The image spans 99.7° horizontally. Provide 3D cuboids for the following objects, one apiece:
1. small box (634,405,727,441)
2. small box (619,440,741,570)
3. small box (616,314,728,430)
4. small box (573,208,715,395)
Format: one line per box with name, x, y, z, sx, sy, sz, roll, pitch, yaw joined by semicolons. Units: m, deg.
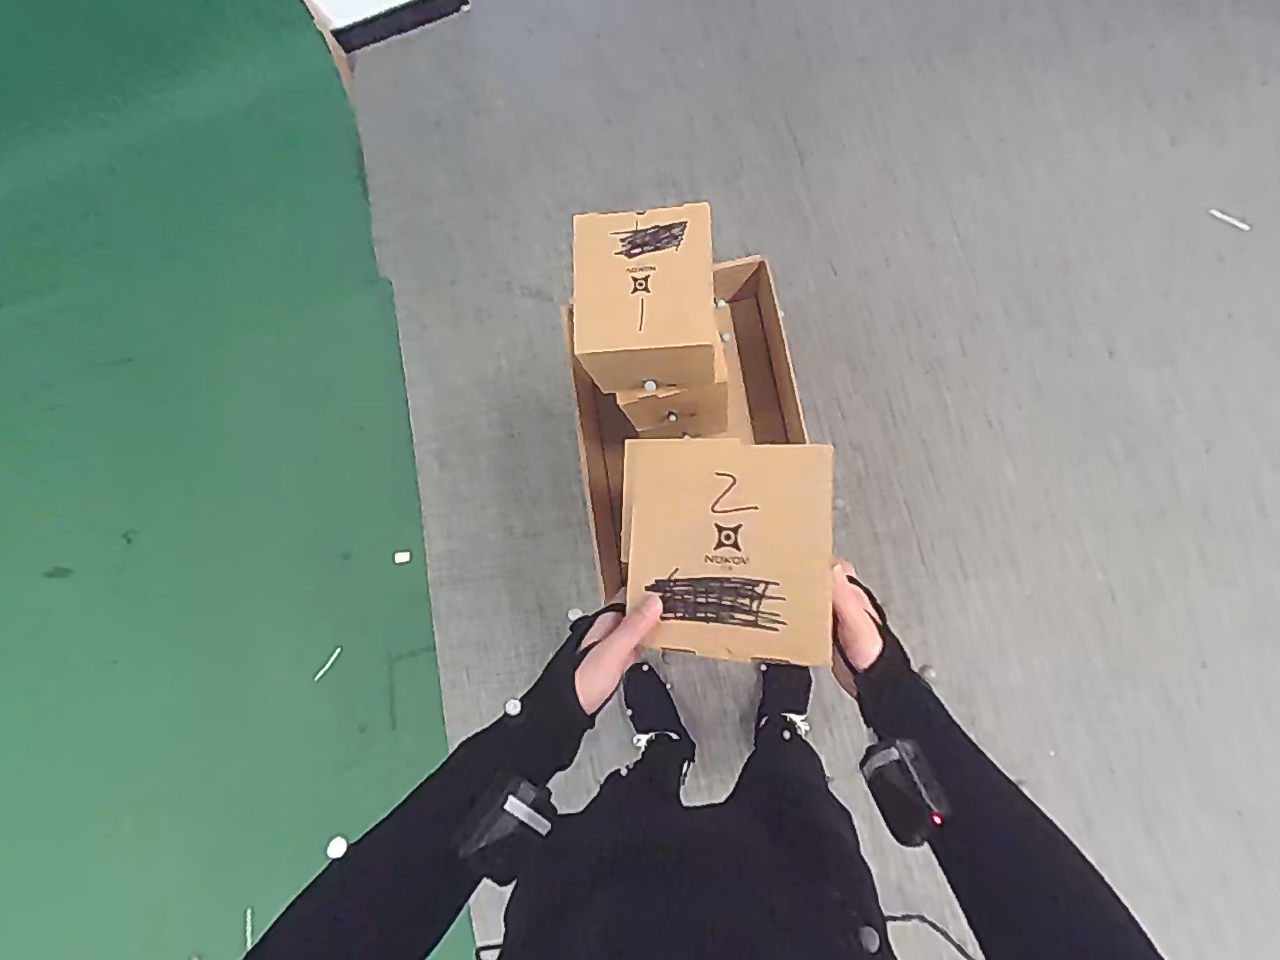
small box;0.069;-0.172;1.032;0.168;0.176;0.179;-11;80;8
small box;0.069;0.044;0.822;0.168;0.176;0.179;0;78;9
small box;0.043;-0.195;0.874;0.168;0.176;0.179;-11;81;7
small box;0.013;-0.223;0.714;0.168;0.176;0.179;-2;82;9
